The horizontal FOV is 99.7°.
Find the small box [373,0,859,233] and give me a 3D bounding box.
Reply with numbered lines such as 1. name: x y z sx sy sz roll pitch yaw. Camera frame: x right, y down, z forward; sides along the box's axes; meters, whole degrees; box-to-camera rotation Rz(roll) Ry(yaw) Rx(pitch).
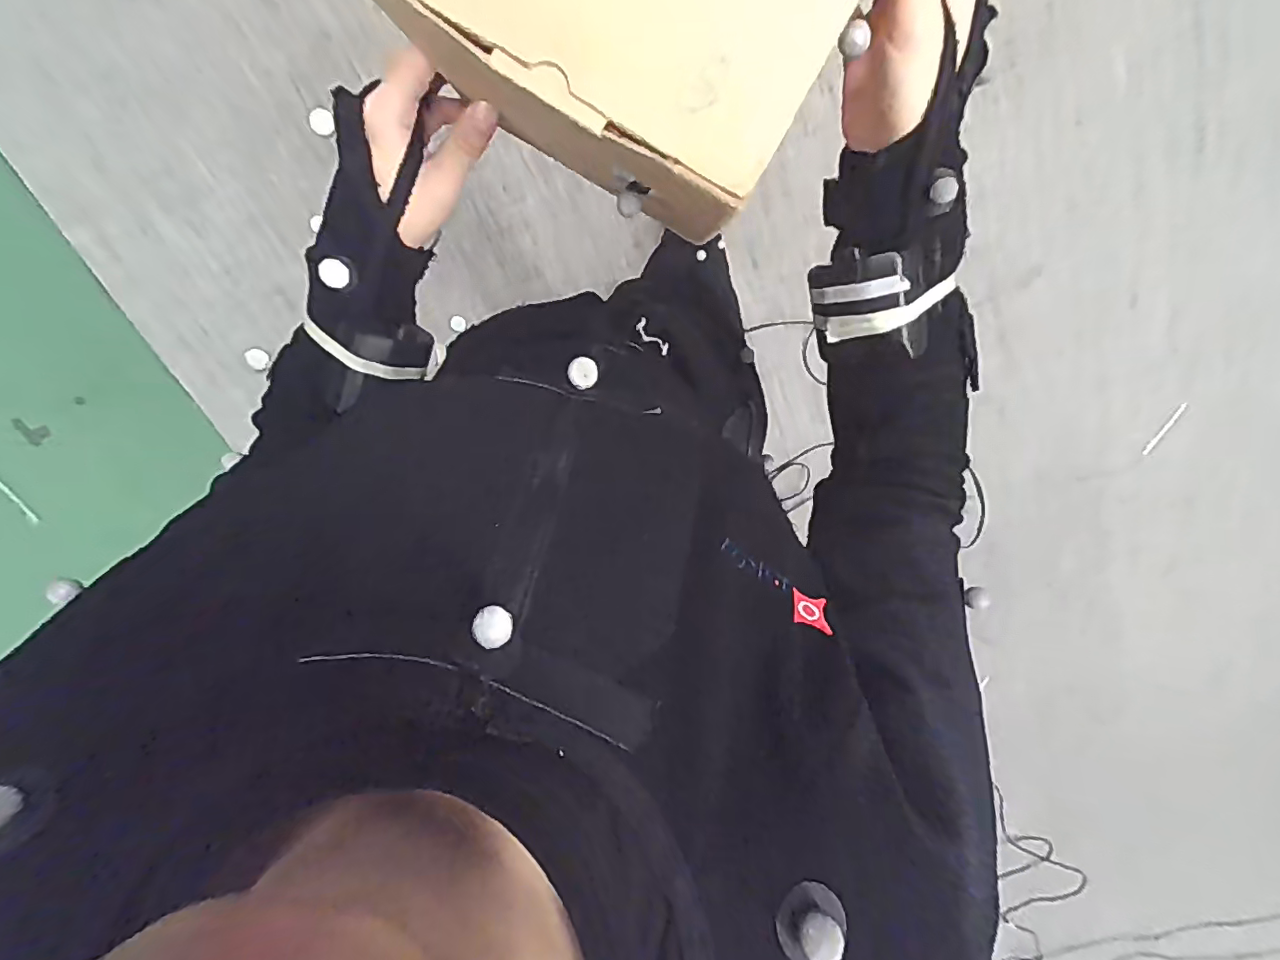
1. small box: 0.010 -0.235 0.241 0.168 0.176 0.179 27 106 -9
